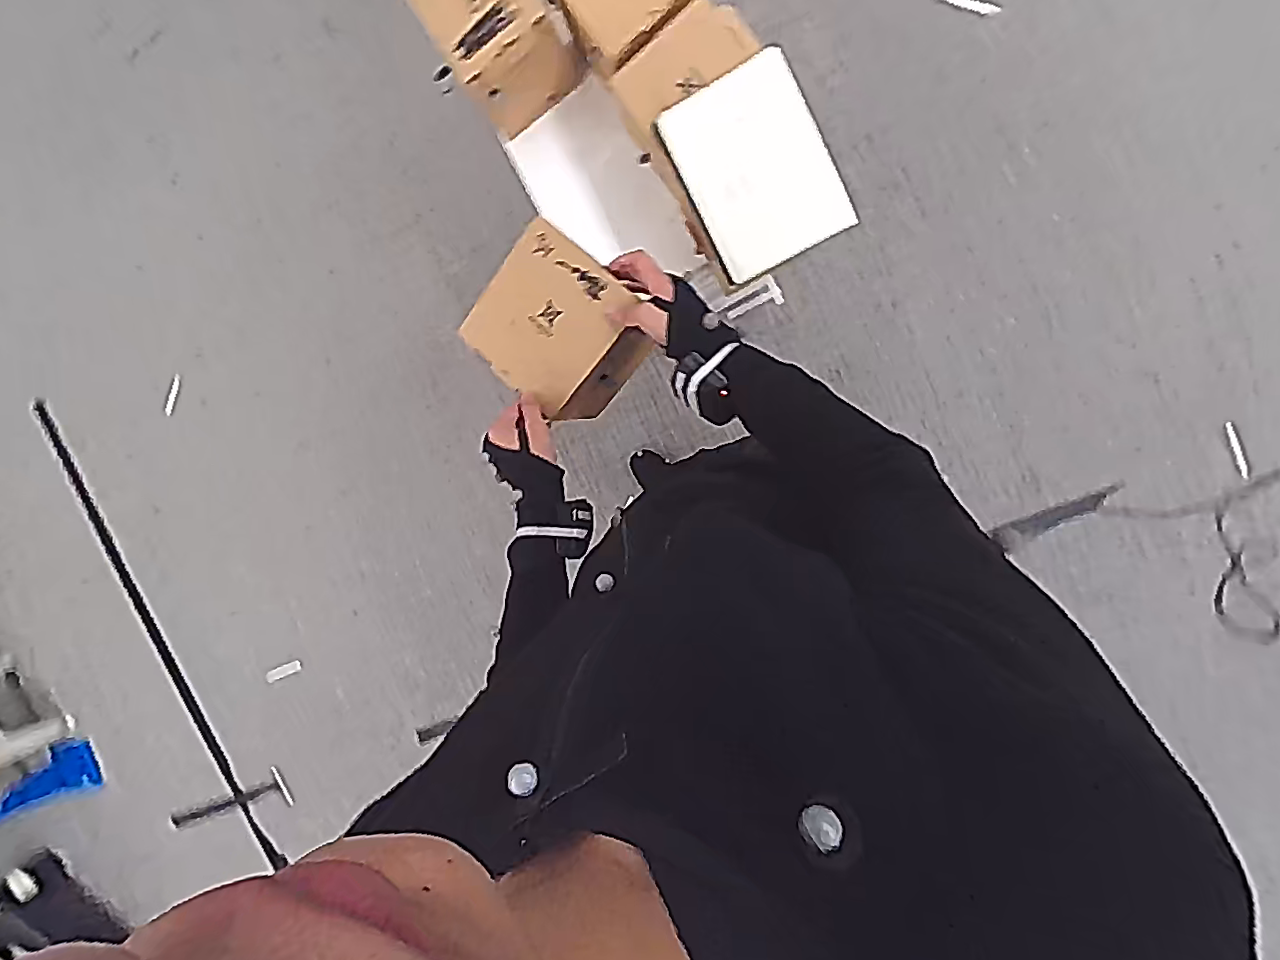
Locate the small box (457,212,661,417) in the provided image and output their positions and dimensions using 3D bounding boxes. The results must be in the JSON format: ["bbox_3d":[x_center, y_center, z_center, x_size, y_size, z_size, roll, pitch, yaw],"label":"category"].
[{"bbox_3d":[-0.093,-0.202,0.707,0.168,0.176,0.179,42,106,4],"label":"small box"}]
